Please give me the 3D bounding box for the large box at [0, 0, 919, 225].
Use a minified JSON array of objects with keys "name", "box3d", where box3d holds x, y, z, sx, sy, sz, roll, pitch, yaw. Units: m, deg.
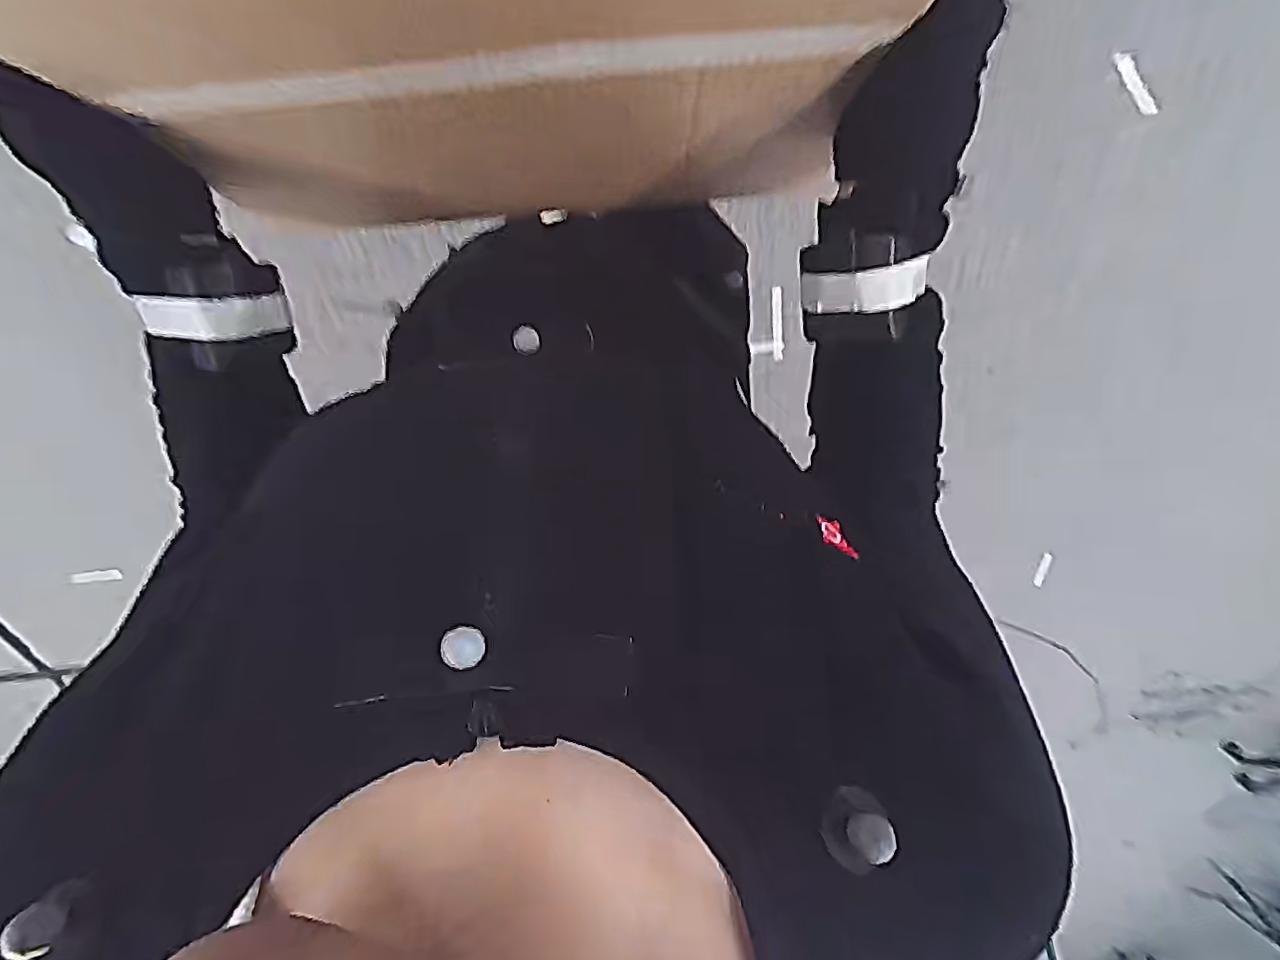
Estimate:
[{"name":"large box","box3d":[-0.083,-0.355,0.254,0.408,0.320,0.320,-5,93,1]}]
